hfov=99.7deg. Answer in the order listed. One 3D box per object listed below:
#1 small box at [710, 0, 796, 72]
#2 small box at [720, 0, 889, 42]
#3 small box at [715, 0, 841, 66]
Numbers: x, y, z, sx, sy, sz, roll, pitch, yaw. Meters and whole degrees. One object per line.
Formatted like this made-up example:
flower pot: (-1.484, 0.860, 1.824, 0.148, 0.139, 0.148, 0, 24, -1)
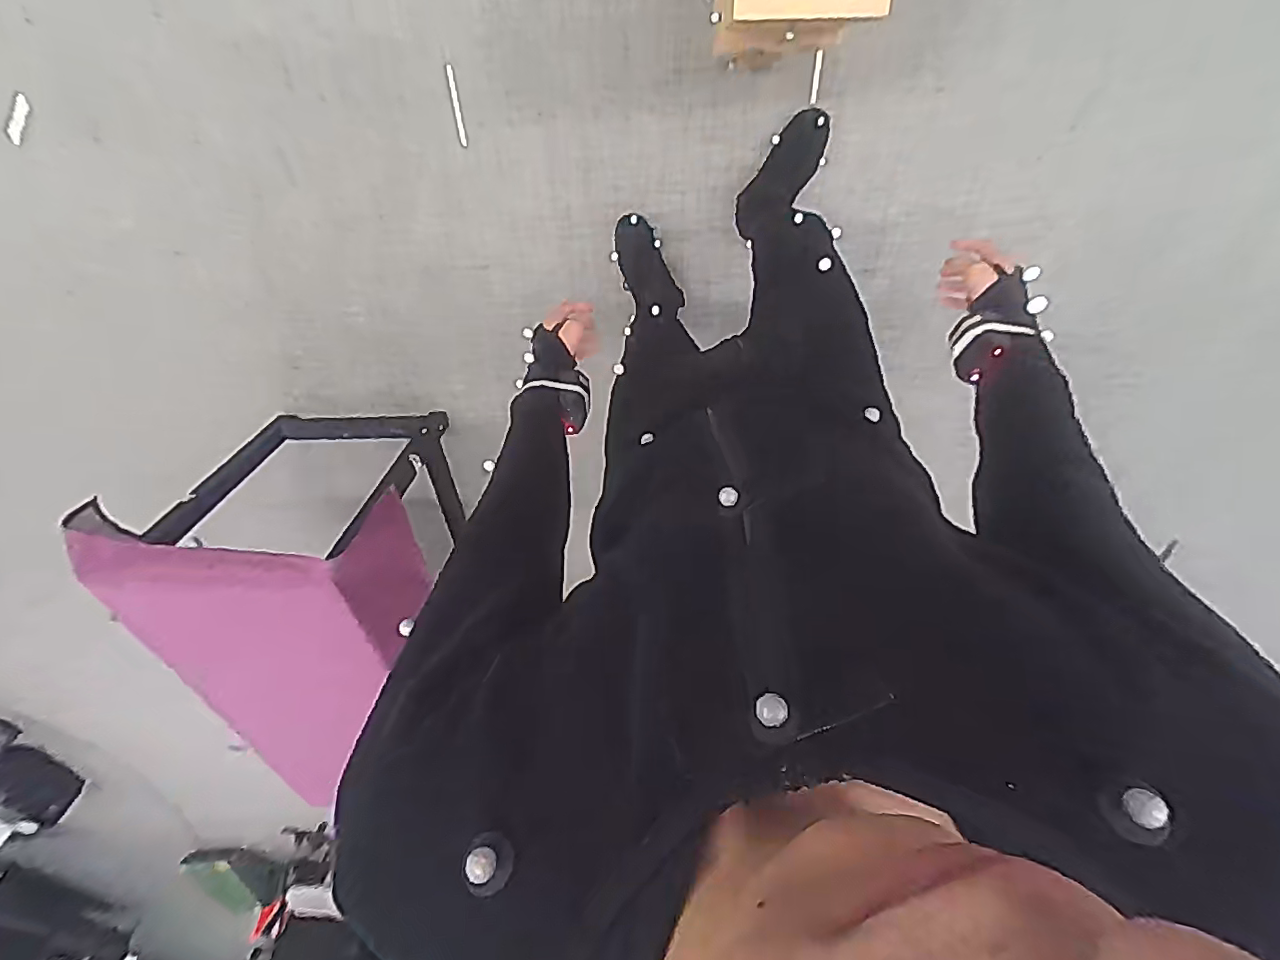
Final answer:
small box: (0.222, -0.902, 1.040, 0.168, 0.176, 0.179, -3, 128, 7)
small box: (0.193, -0.625, 0.634, 0.179, 0.176, 0.168, 1, 127, 3)
small box: (0.197, -0.709, 0.776, 0.168, 0.176, 0.179, 0, 127, 4)
